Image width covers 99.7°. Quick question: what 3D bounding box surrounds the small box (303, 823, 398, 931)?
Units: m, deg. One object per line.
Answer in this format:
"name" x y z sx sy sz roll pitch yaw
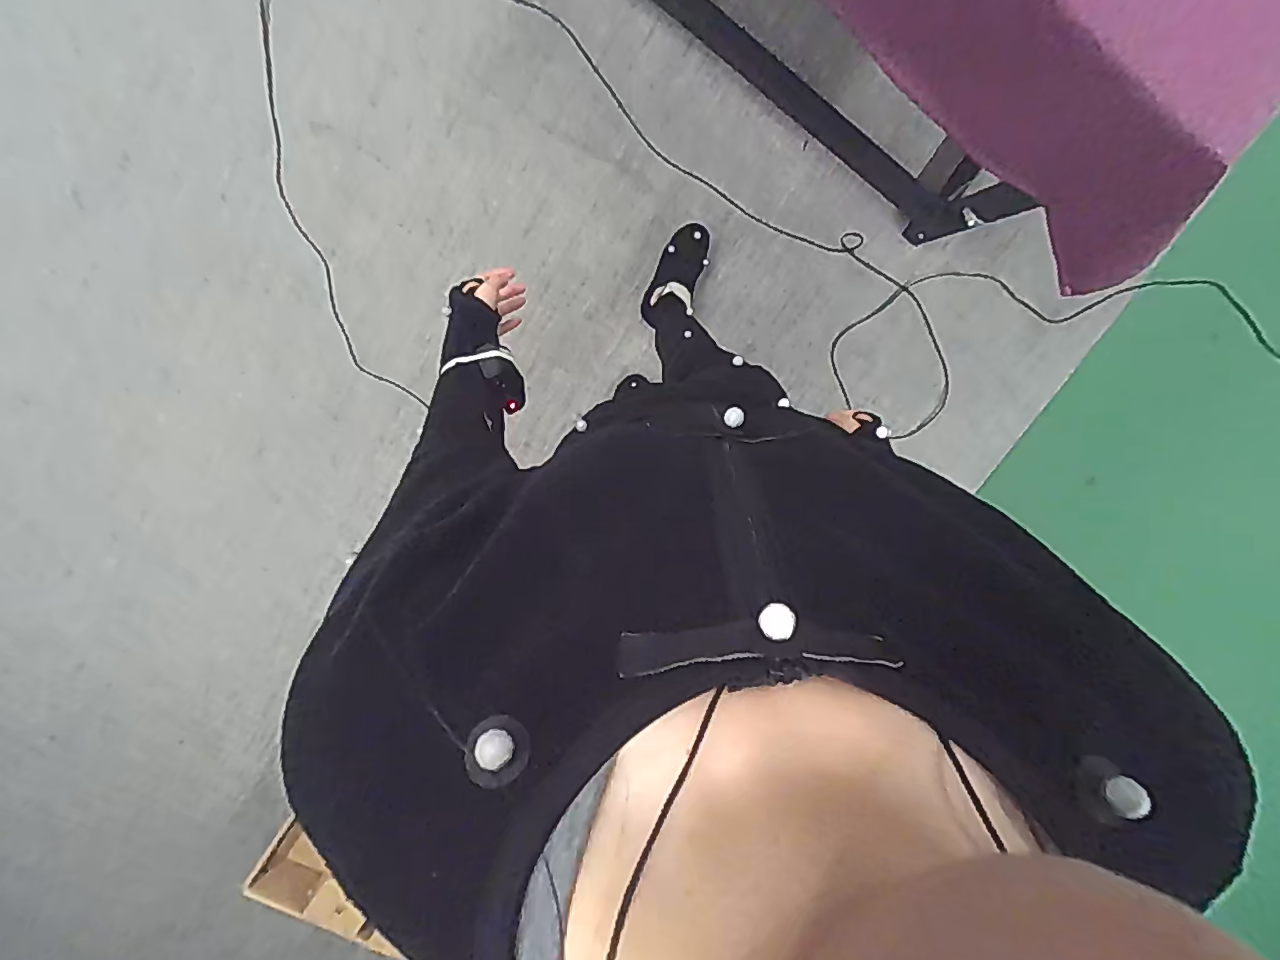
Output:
"small box" -0.869 1.203 1.646 0.168 0.176 0.179 34 100 -12
